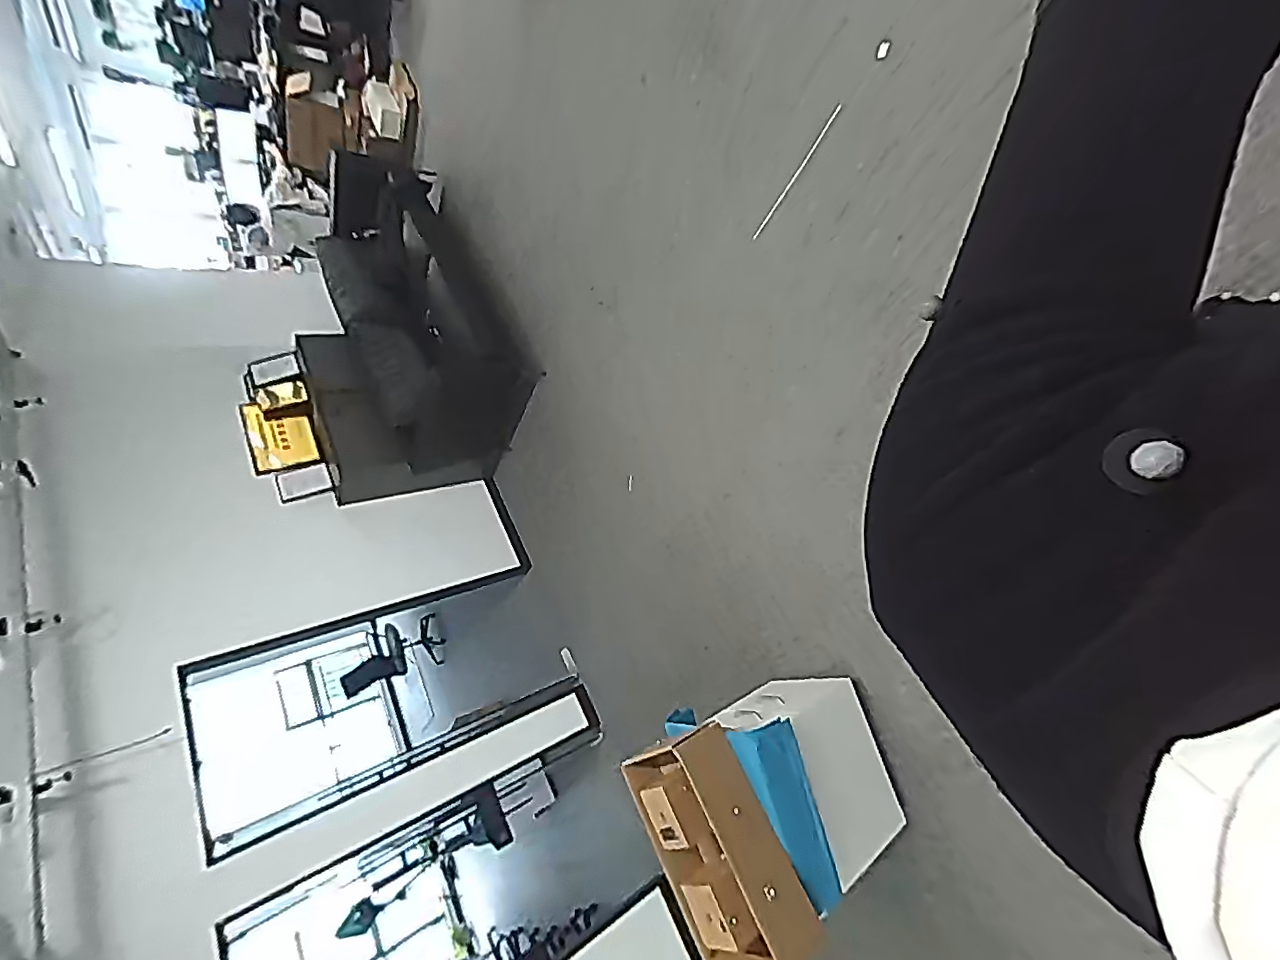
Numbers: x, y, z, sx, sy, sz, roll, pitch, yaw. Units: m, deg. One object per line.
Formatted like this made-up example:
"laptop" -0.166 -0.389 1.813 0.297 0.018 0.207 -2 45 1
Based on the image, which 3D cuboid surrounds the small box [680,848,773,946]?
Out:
"small box" 0.252 1.206 1.578 0.168 0.176 0.179 62 142 20
